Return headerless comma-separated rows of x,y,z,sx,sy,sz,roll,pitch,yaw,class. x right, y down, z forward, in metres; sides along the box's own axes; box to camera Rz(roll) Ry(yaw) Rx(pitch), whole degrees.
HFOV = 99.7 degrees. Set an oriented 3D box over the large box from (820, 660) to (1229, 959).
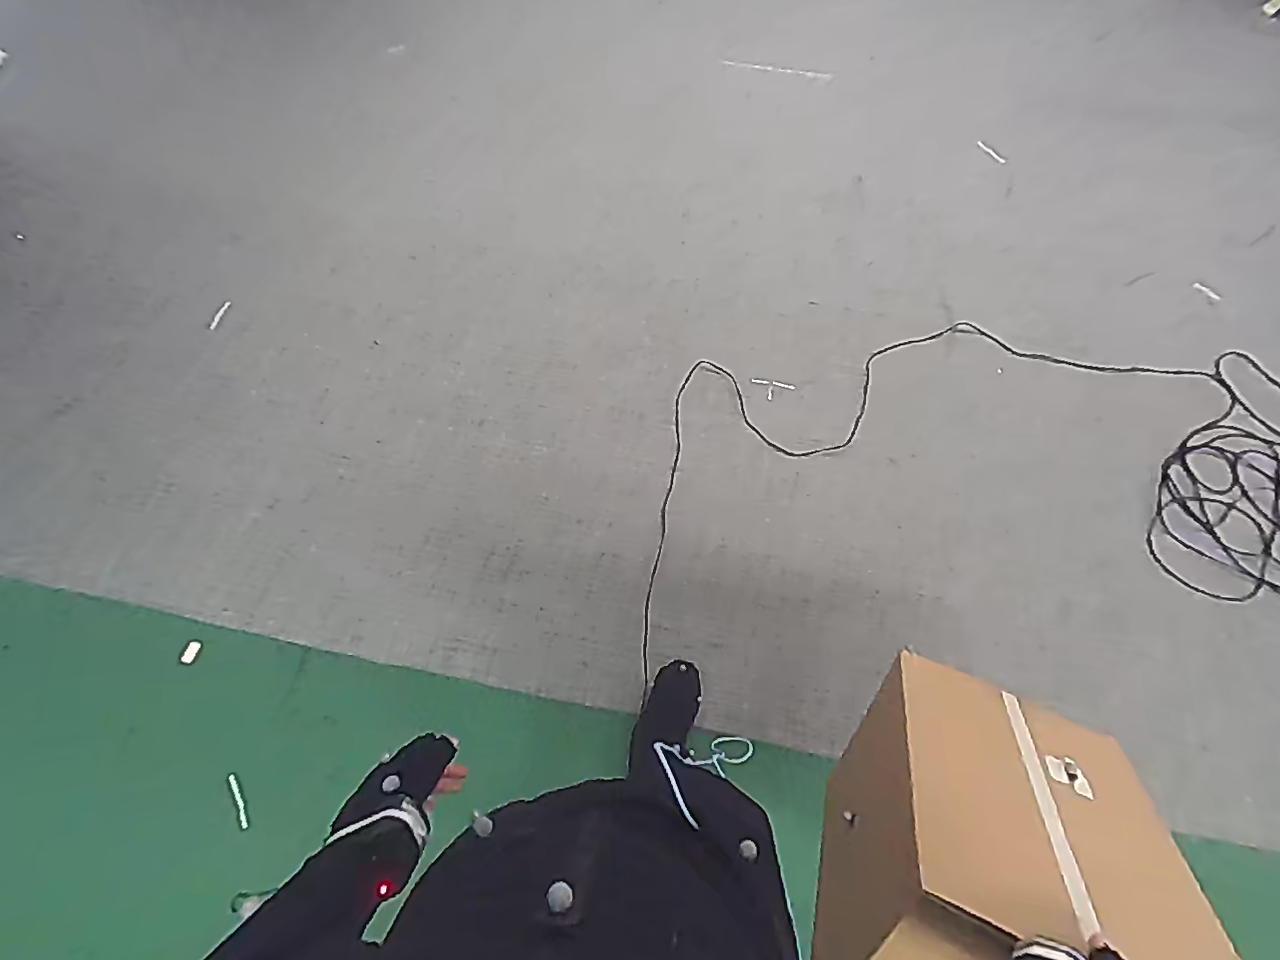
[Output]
0.442,0.530,0.707,0.320,0.320,0.408,22,24,15,large box
